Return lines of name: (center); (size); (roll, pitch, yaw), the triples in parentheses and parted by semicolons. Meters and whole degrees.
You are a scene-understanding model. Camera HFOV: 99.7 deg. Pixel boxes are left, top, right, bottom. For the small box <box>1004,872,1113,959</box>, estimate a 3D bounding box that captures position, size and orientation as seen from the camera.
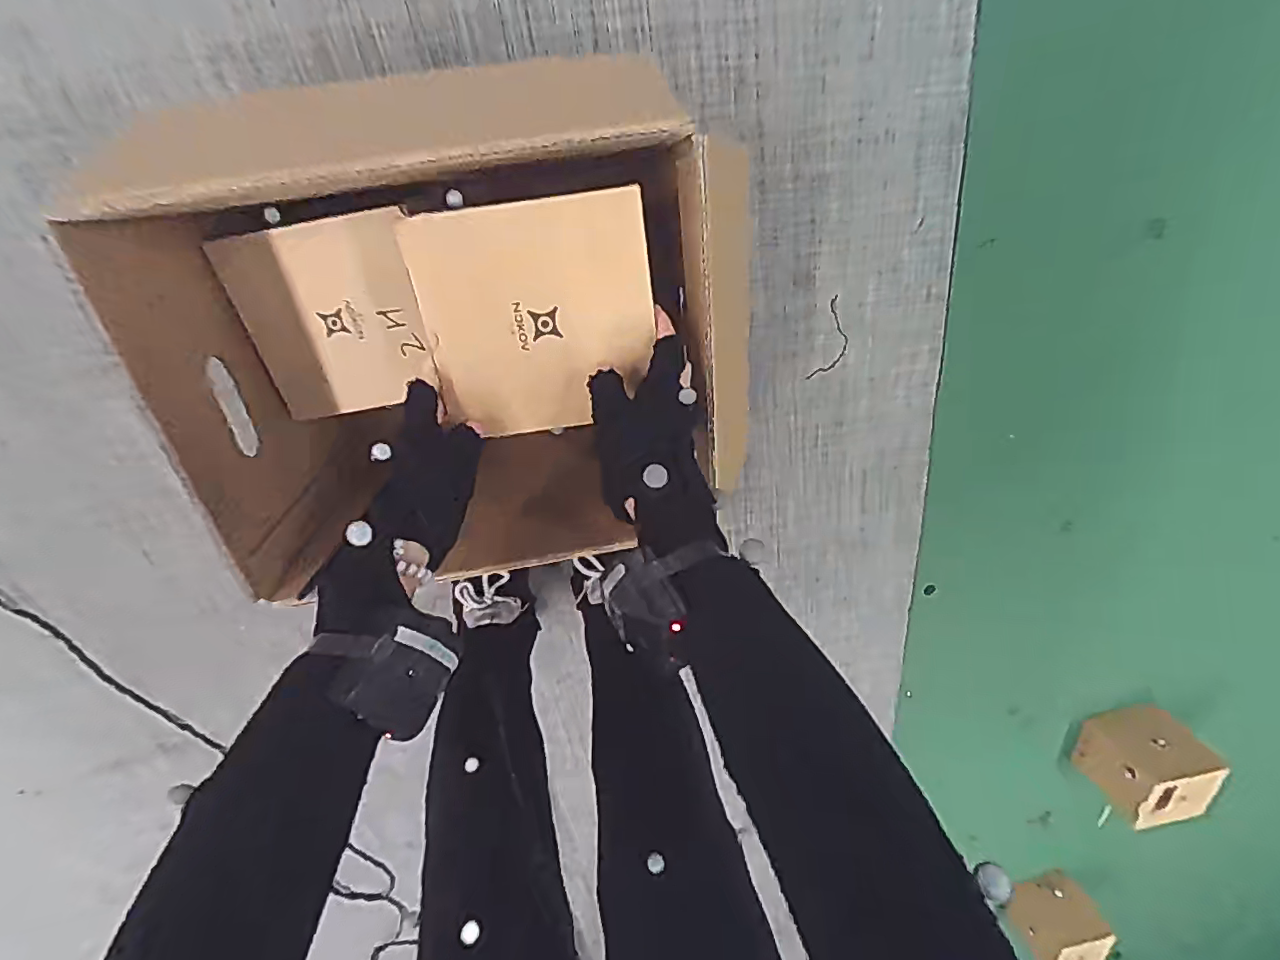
small box: (1.199, 1.280, 1.565); (0.168, 0.176, 0.179); (-10, 118, -4)
